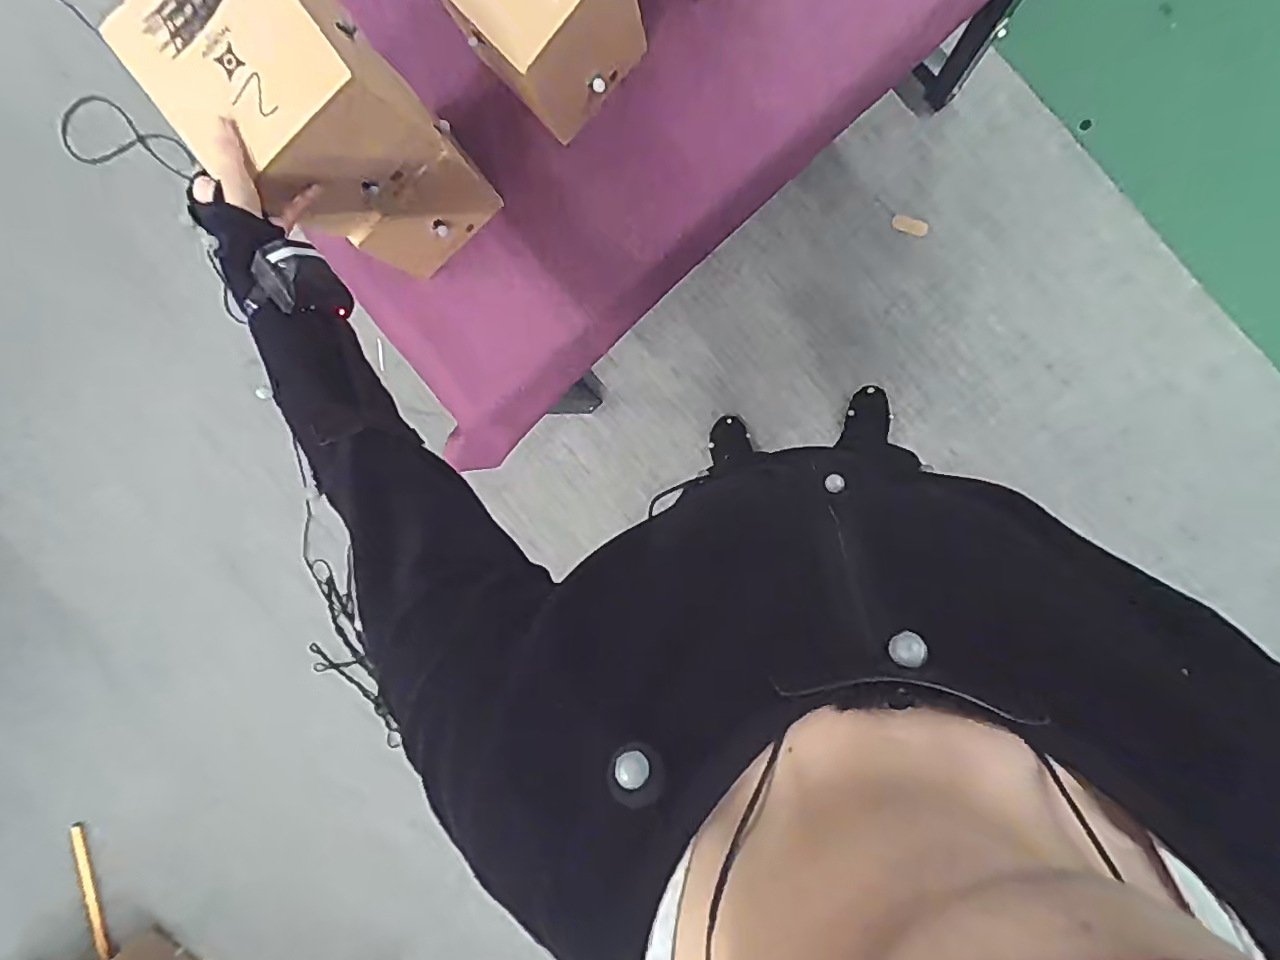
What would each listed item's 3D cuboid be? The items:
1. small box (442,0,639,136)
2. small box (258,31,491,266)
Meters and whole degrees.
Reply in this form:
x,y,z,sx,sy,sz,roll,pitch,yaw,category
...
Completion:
x,y,z,sx,sy,sz,roll,pitch,yaw,category
-0.123,-0.571,0.654,0.168,0.176,0.179,-43,90,11,small box
-0.328,-0.405,0.705,0.168,0.176,0.179,-38,91,11,small box
